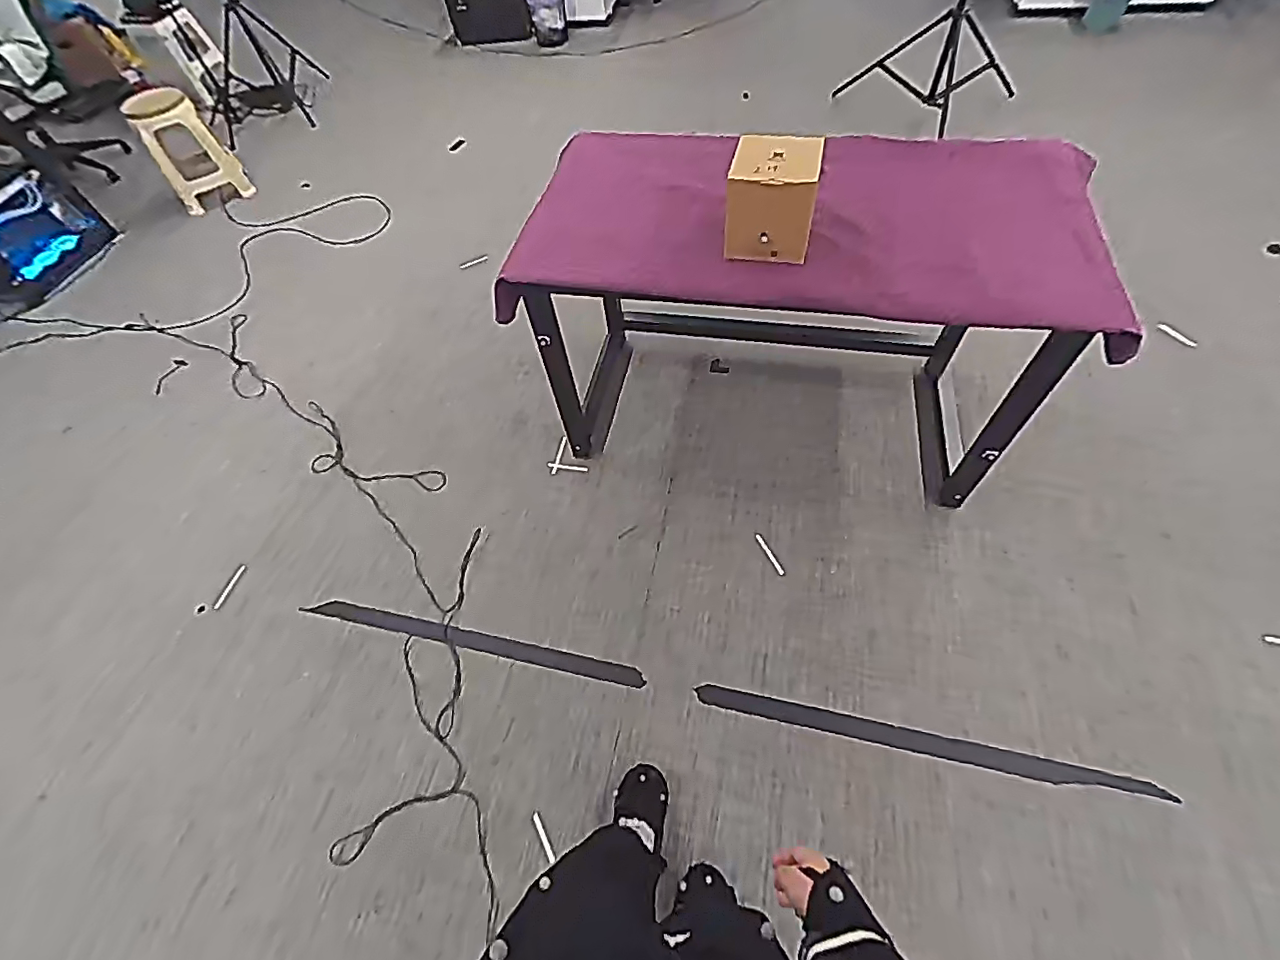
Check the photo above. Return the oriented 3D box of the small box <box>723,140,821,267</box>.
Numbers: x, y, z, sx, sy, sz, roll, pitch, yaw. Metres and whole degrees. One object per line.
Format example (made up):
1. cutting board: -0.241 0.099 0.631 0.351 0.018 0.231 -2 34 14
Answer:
1. small box: 0.266 -0.566 1.108 0.168 0.176 0.179 9 58 13
